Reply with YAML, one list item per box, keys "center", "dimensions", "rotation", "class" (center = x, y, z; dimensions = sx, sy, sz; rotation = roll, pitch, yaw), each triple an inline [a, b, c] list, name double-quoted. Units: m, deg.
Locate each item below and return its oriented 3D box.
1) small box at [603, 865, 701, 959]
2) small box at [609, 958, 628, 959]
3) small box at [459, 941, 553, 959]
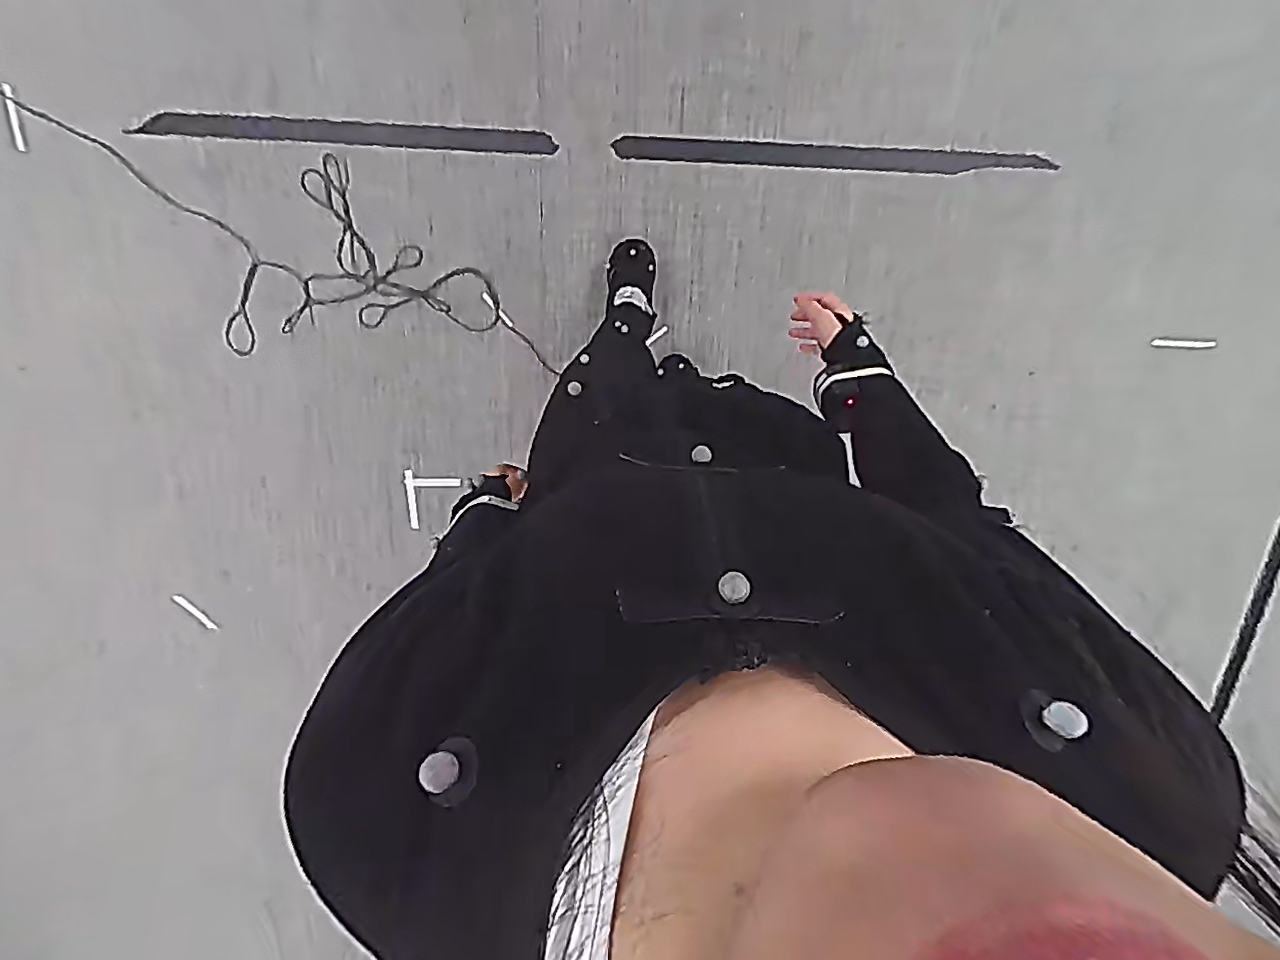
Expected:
- center: [0.018, 0.892, 1.047]
  dimensions: [0.168, 0.176, 0.179]
  rotation: [7, 105, 0]
  class: "small box"
- center: [0.006, 0.942, 0.891]
  dimensions: [0.168, 0.176, 0.179]
  rotation: [6, 105, 0]
  class: "small box"
- center: [-0.238, 0.916, 0.888]
  dimensions: [0.168, 0.176, 0.179]
  rotation: [6, 104, -1]
  class: "small box"
